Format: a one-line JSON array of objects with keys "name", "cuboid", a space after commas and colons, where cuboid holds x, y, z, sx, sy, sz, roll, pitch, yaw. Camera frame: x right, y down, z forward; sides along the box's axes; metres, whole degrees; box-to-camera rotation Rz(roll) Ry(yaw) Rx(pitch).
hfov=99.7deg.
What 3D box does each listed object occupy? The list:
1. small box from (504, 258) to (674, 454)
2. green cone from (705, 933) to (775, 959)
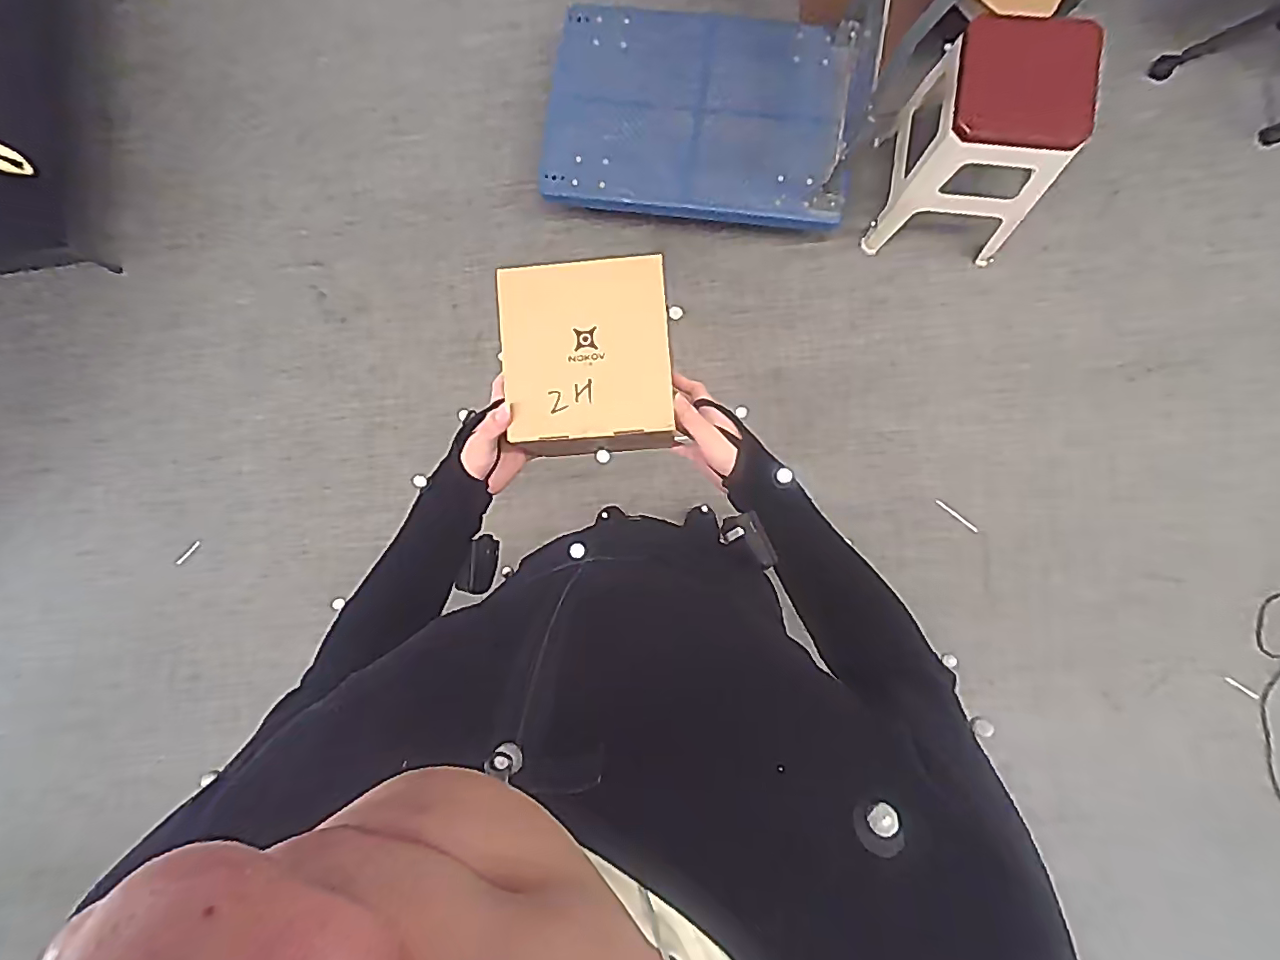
[{"name": "small box", "cuboid": [-0.050, -0.128, 0.617, 0.168, 0.176, 0.179, -4, 88, 2]}, {"name": "green cone", "cuboid": [0.284, 1.406, 1.386, 0.202, 0.368, 0.200, -4, 87, 2]}]
